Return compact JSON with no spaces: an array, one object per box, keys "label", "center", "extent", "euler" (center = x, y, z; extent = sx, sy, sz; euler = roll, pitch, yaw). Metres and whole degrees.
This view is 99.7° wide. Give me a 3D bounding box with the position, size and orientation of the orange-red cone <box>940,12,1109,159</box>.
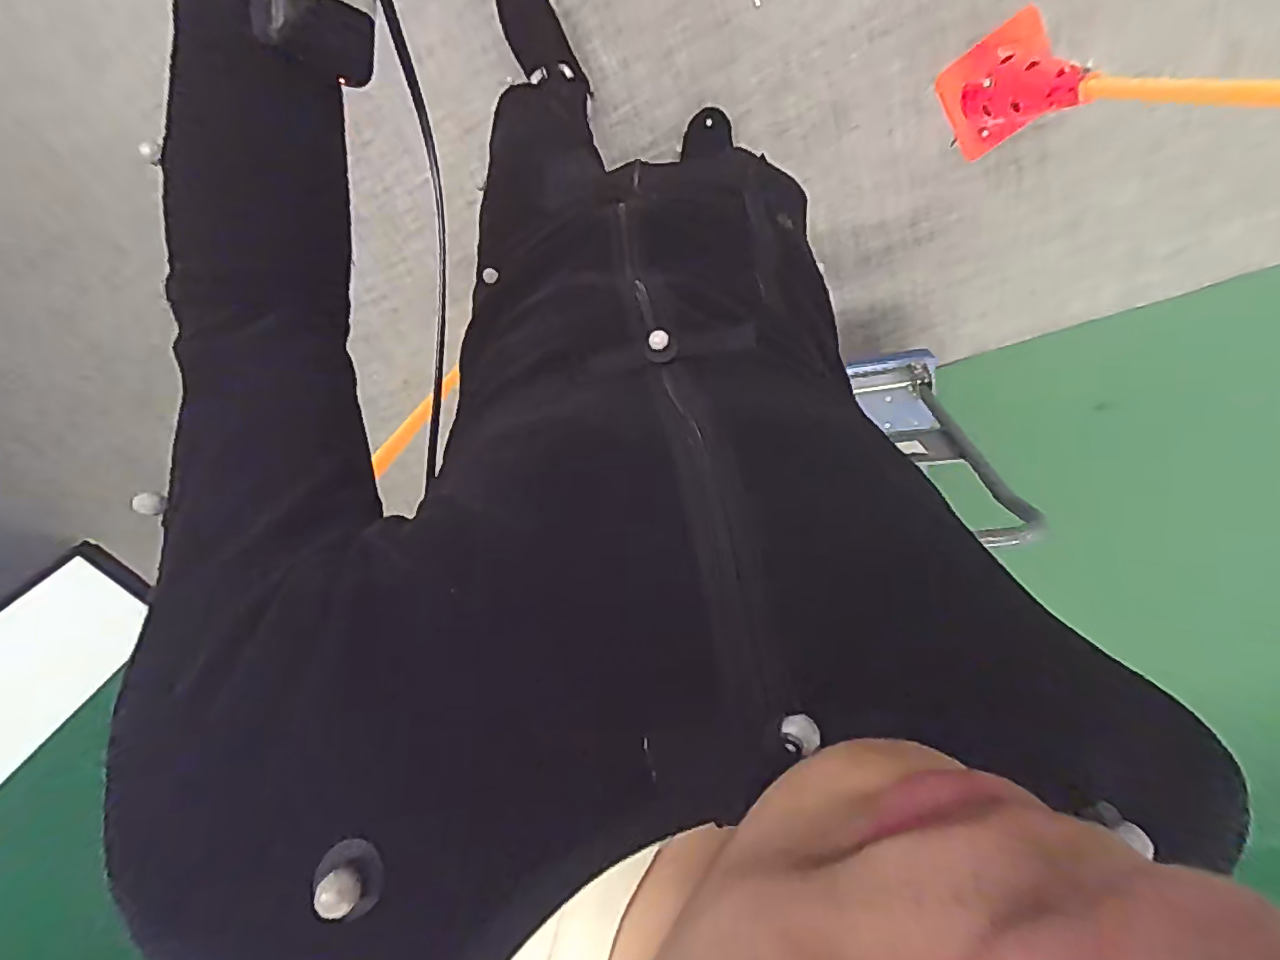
[{"label":"orange-red cone","center":[0.738,-0.719,0.994],"extent":[0.199,0.360,0.198],"euler":[-31,117,24]}]
